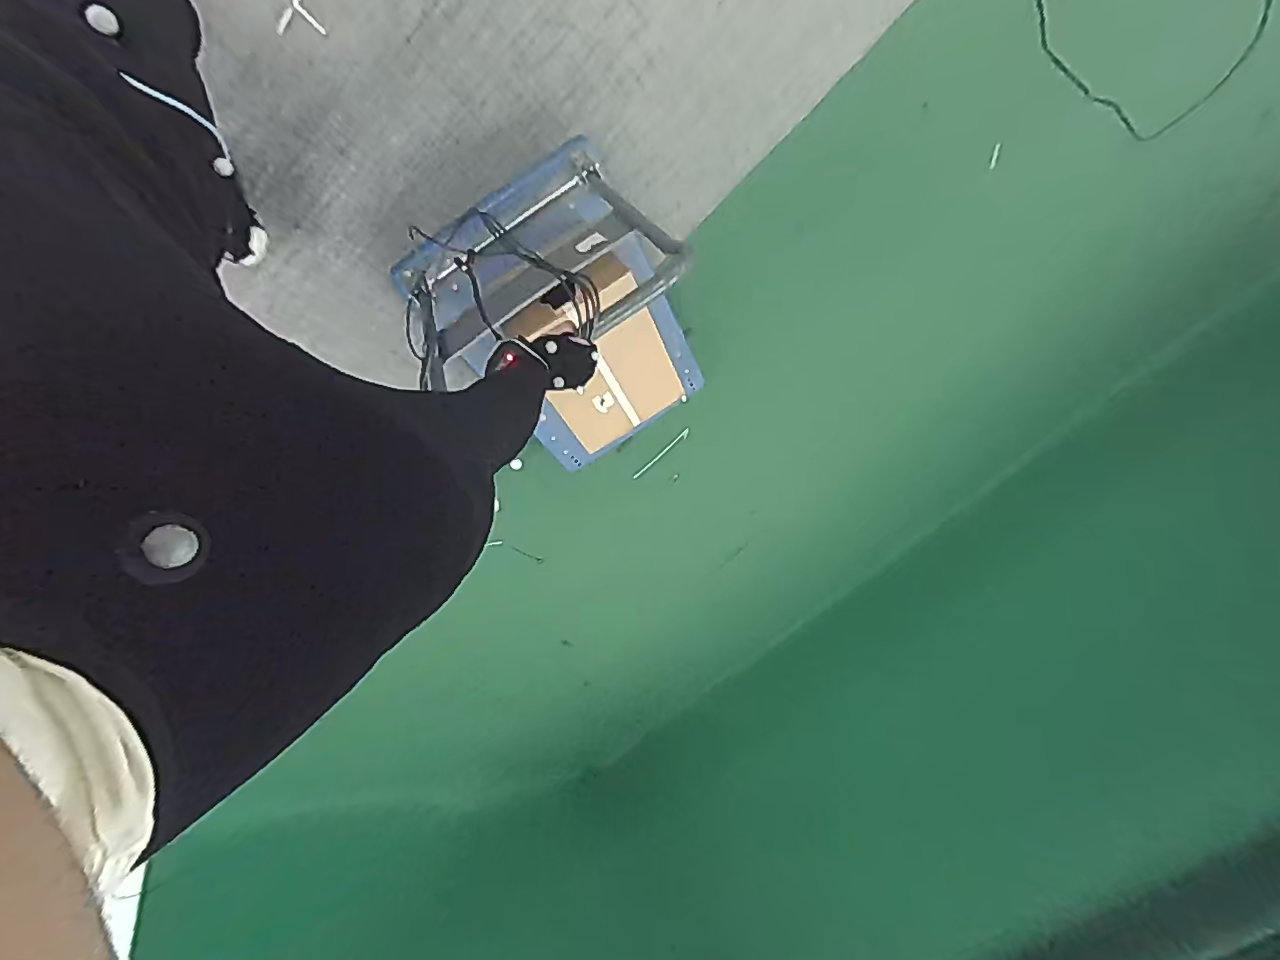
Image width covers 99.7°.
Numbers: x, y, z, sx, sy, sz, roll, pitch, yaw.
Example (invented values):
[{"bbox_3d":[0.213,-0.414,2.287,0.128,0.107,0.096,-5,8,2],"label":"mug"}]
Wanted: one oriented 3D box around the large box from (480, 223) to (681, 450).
[{"bbox_3d":[-0.148,-0.363,1.401,0.320,0.320,0.408,-32,140,2],"label":"large box"}]
